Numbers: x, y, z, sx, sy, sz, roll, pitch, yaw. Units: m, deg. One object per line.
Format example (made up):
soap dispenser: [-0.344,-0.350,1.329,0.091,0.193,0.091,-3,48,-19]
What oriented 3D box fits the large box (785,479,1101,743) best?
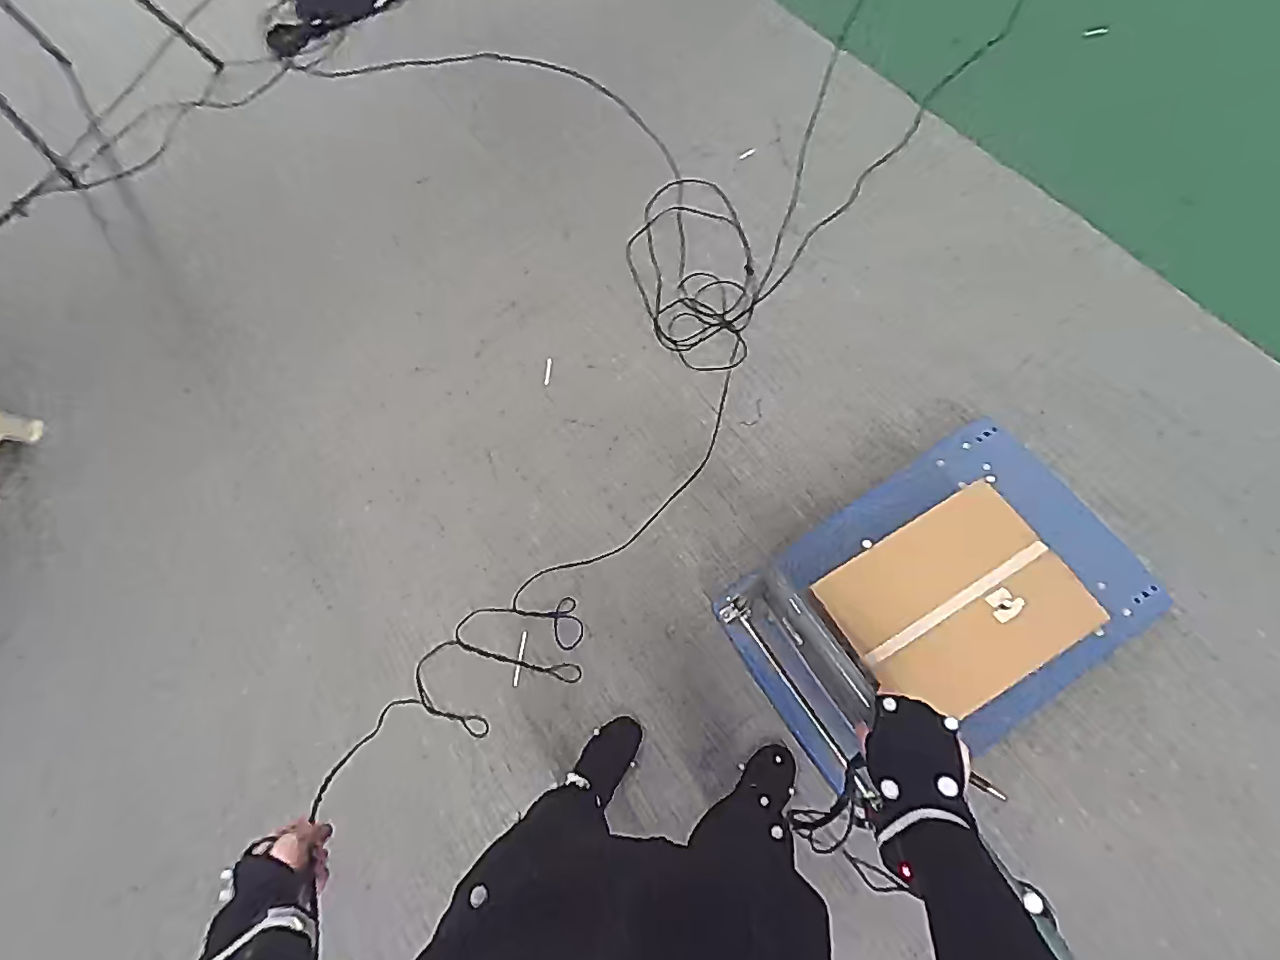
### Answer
large box: [0.568,0.268,1.103,0.408,0.320,0.320,-31,72,-5]
